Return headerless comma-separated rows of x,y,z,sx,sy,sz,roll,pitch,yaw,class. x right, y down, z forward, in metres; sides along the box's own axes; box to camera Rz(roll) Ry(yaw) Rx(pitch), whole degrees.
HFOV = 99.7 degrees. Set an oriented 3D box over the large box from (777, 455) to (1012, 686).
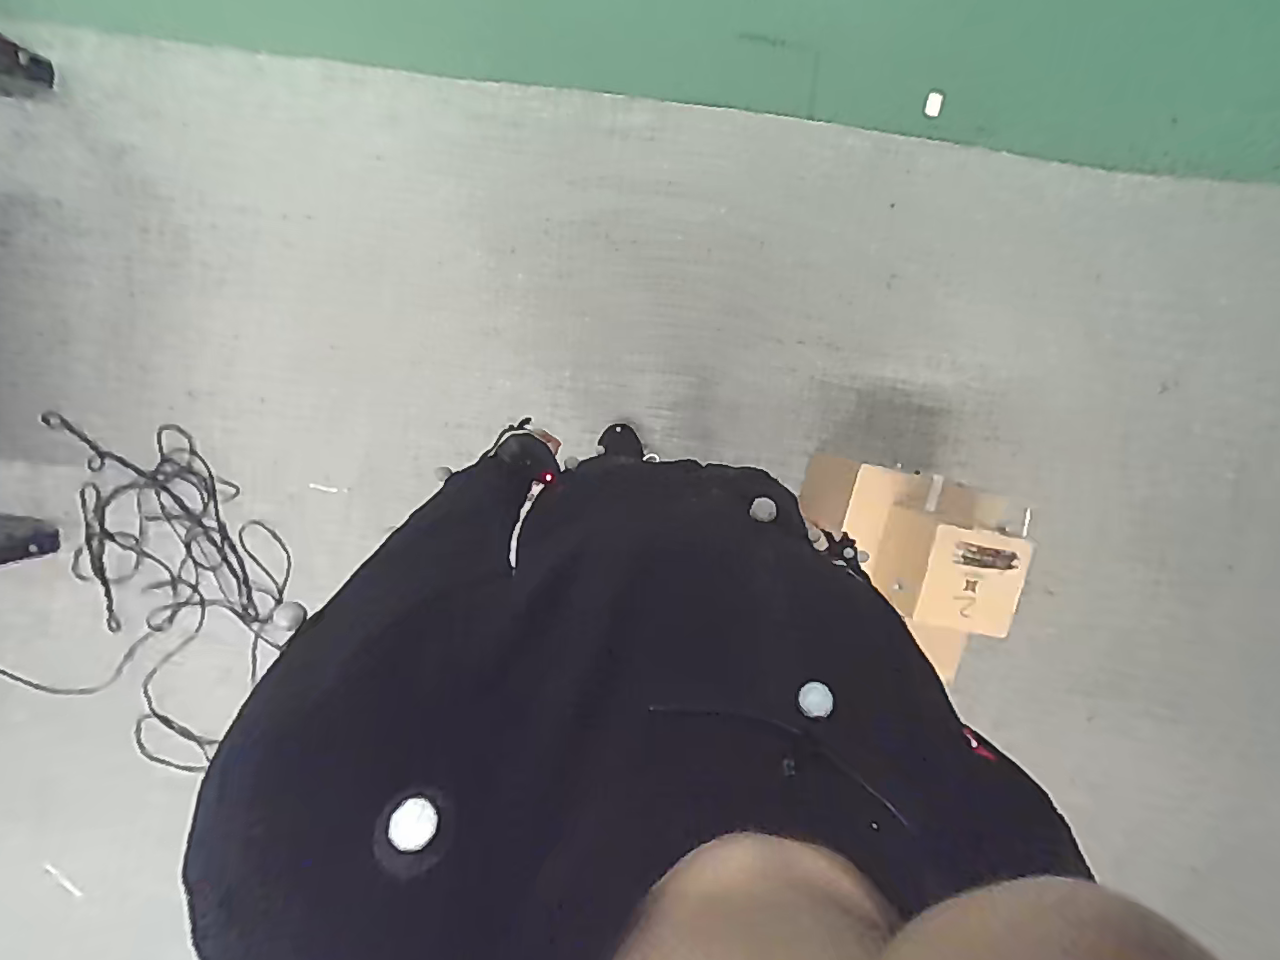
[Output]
0.538,0.178,1.219,0.320,0.320,0.408,13,98,0,large box
